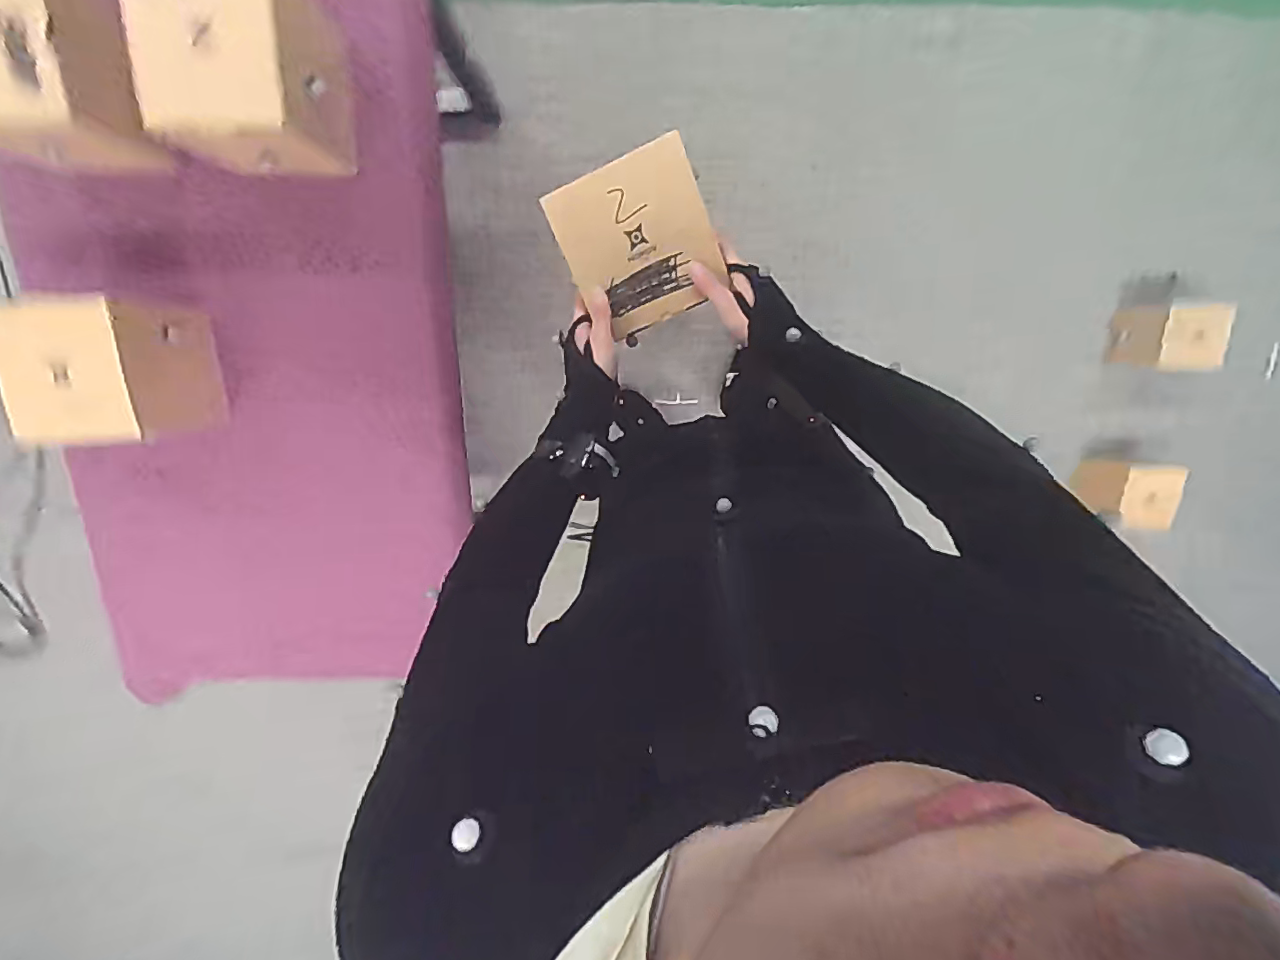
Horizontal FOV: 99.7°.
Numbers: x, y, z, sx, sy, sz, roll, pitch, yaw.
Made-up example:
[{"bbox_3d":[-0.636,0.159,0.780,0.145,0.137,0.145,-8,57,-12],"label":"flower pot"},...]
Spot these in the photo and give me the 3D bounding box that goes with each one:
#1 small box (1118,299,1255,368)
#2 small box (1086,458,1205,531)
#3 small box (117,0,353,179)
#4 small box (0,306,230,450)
[{"bbox_3d":[1.448,-0.387,1.445,0.179,0.176,0.168,1,102,-1],"label":"small box"},{"bbox_3d":[1.428,0.036,1.541,0.168,0.176,0.179,2,103,-1],"label":"small box"},{"bbox_3d":[-0.486,-0.494,0.677,0.168,0.176,0.179,1,103,1],"label":"small box"},{"bbox_3d":[-0.728,-0.142,0.758,0.168,0.176,0.179,-3,103,1],"label":"small box"}]
